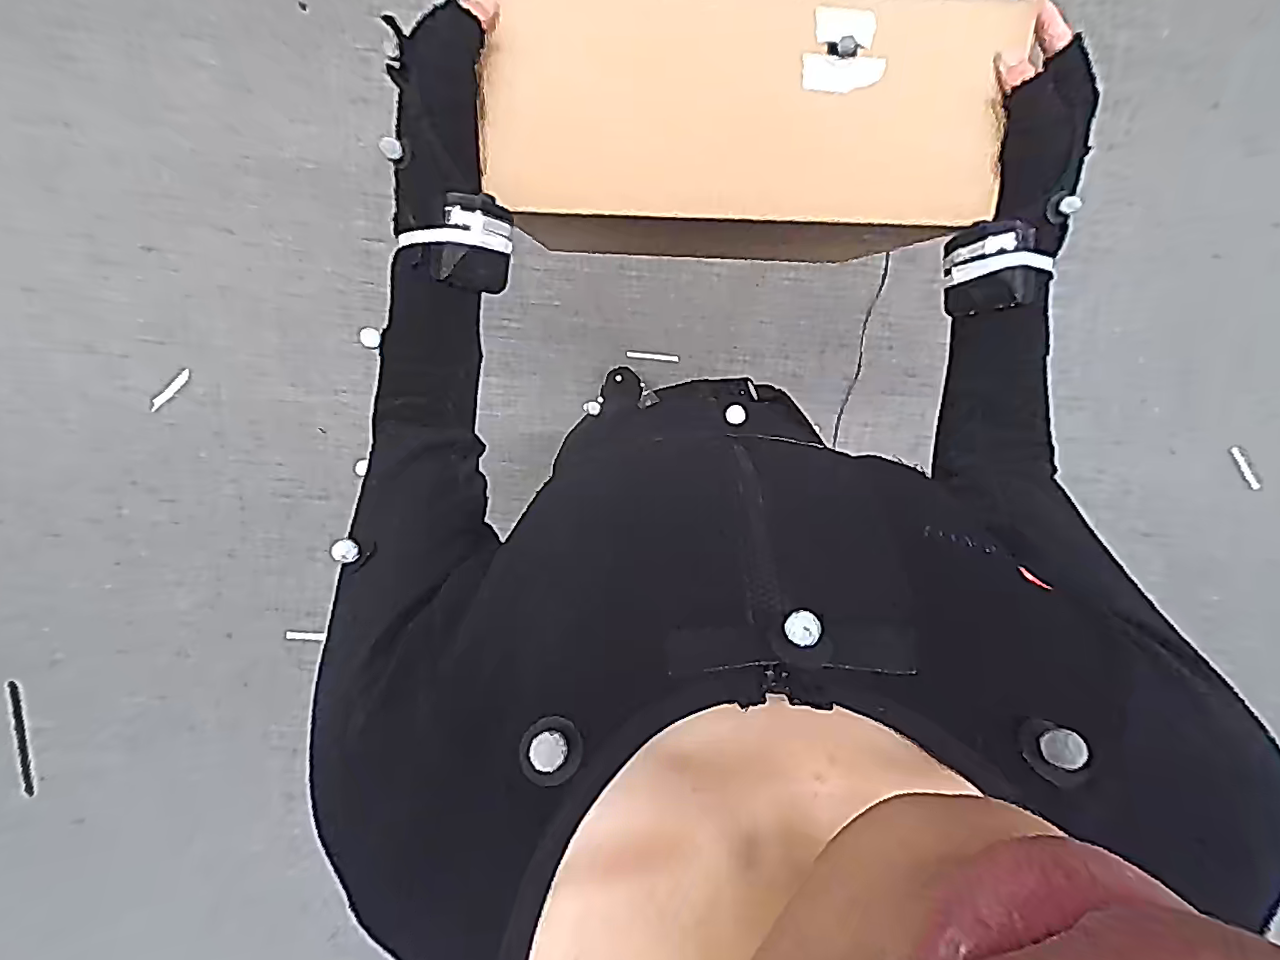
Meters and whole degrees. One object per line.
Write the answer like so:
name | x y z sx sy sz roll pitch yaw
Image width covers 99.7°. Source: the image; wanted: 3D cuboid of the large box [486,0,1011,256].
large box | 0.079 -0.408 0.546 0.408 0.320 0.320 1 108 -1
